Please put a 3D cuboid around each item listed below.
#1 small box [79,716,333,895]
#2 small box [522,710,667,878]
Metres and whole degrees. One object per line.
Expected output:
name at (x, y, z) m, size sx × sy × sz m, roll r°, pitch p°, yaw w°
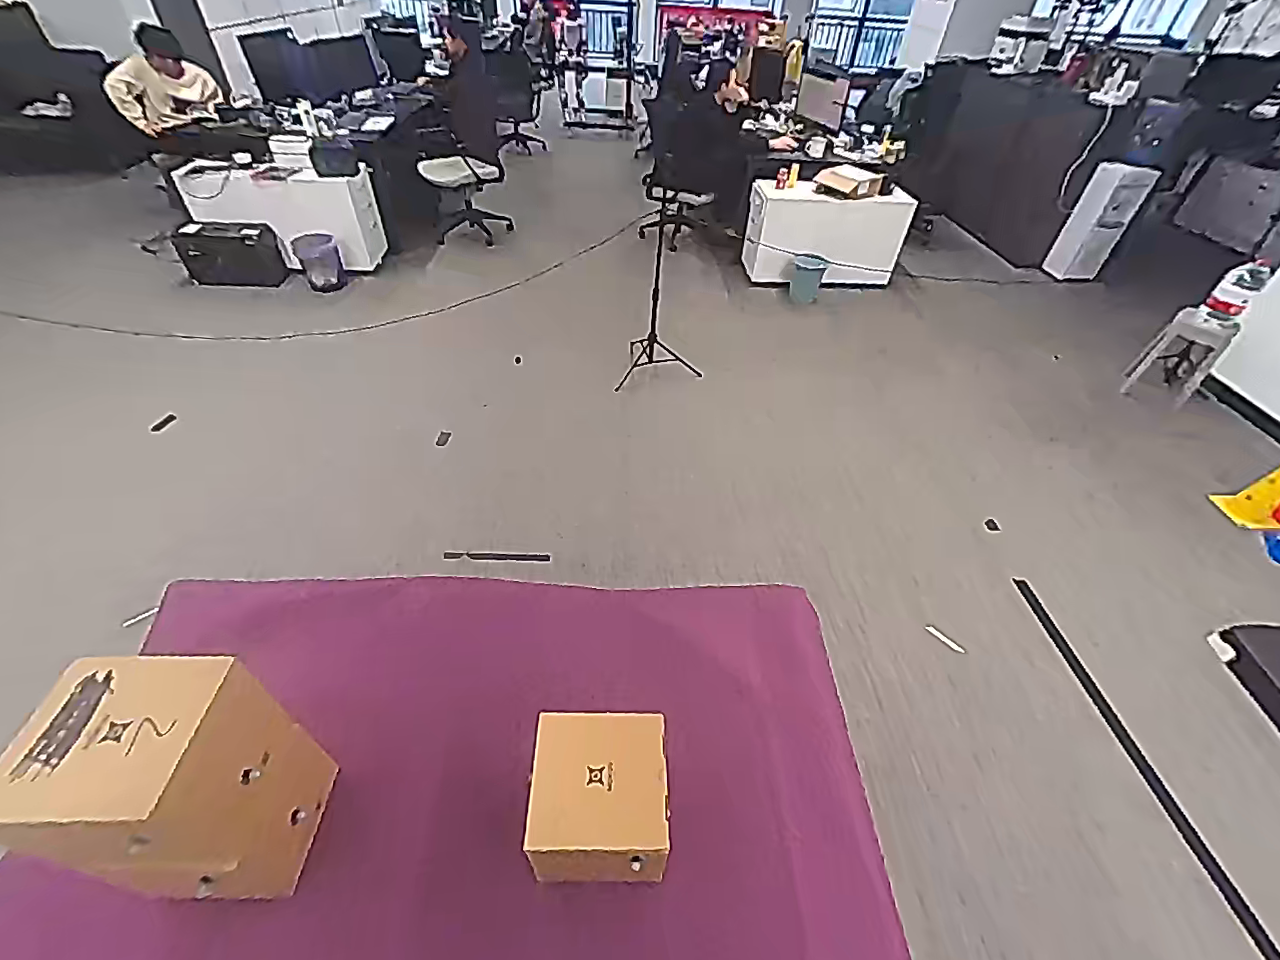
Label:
small box at (-0.545, 0.432, 0.717) m, size 0.179 × 0.176 × 0.168 m, roll 2°, pitch 43°, yaw -2°
small box at (-0.057, 0.437, 0.751) m, size 0.179 × 0.176 × 0.168 m, roll 2°, pitch 43°, yaw -3°
